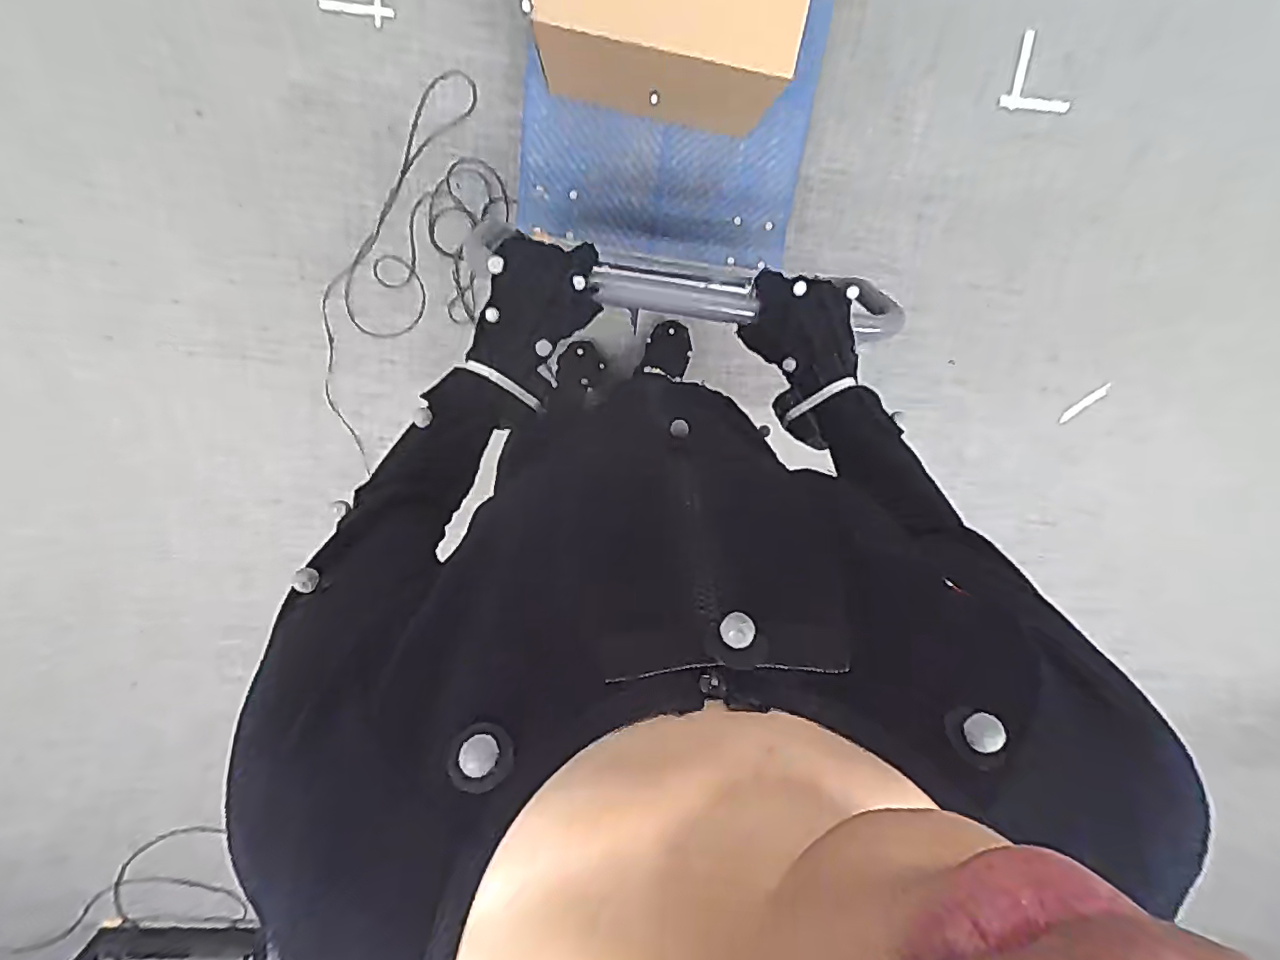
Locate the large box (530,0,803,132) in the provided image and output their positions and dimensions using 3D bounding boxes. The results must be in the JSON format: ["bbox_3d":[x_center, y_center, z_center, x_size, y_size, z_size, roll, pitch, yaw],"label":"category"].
[{"bbox_3d":[0.050,-0.832,0.912,0.408,0.320,0.320,8,107,-6],"label":"large box"}]
